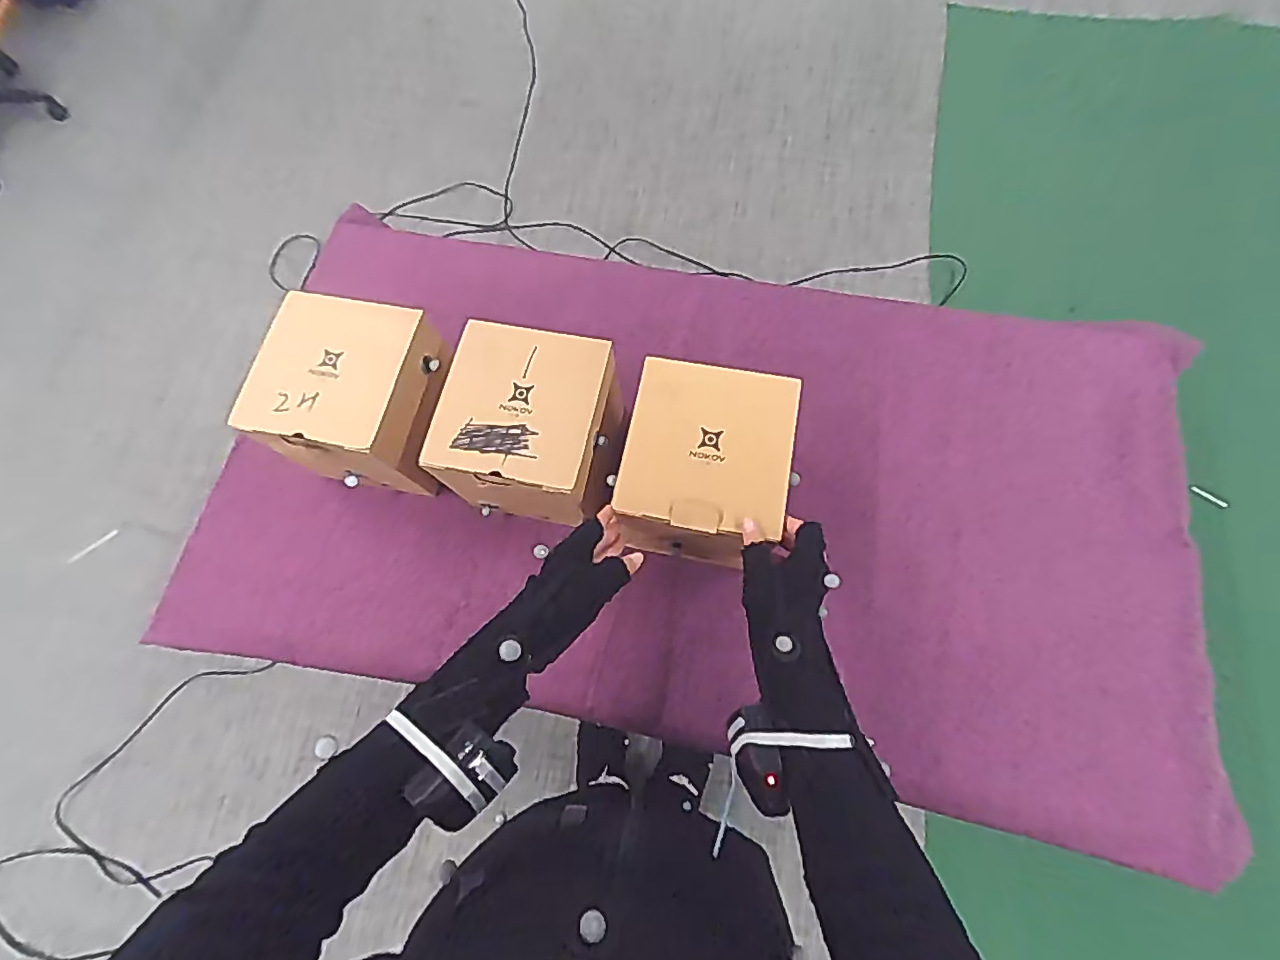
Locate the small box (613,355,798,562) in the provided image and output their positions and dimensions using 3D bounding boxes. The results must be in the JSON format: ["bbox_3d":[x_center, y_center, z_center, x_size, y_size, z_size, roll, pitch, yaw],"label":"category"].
[{"bbox_3d":[0.071,-0.015,0.619,0.168,0.176,0.179,10,74,6],"label":"small box"}]

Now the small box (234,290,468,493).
[{"bbox_3d":[-0.333,-0.100,0.667,0.168,0.176,0.179,10,73,7],"label":"small box"}]
